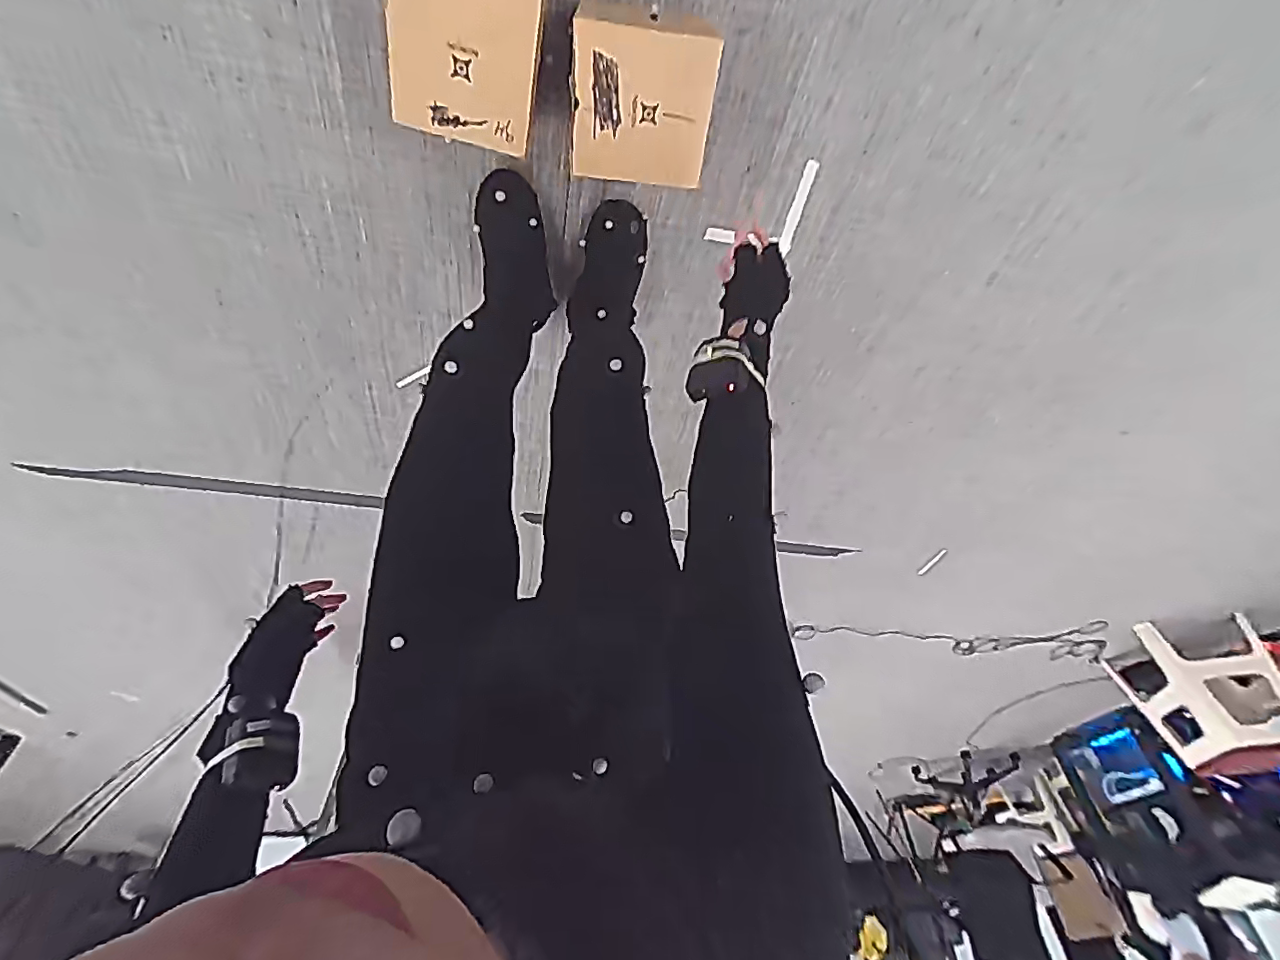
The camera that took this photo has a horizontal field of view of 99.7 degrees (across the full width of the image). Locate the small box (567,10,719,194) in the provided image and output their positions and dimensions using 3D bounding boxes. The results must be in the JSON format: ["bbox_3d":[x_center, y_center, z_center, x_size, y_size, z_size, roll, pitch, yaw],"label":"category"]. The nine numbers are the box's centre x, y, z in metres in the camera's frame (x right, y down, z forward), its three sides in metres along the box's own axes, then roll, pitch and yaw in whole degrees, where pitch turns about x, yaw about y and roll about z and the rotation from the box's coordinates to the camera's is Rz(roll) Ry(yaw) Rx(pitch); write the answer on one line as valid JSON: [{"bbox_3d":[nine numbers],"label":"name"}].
[{"bbox_3d":[-0.006,-0.517,0.738,0.179,0.176,0.168,3,137,-8],"label":"small box"}]

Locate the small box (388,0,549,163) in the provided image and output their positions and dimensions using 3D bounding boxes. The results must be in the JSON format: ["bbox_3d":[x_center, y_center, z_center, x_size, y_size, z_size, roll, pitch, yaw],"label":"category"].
[{"bbox_3d":[-0.213,-0.548,0.692,0.168,0.176,0.179,10,135,-13],"label":"small box"}]
